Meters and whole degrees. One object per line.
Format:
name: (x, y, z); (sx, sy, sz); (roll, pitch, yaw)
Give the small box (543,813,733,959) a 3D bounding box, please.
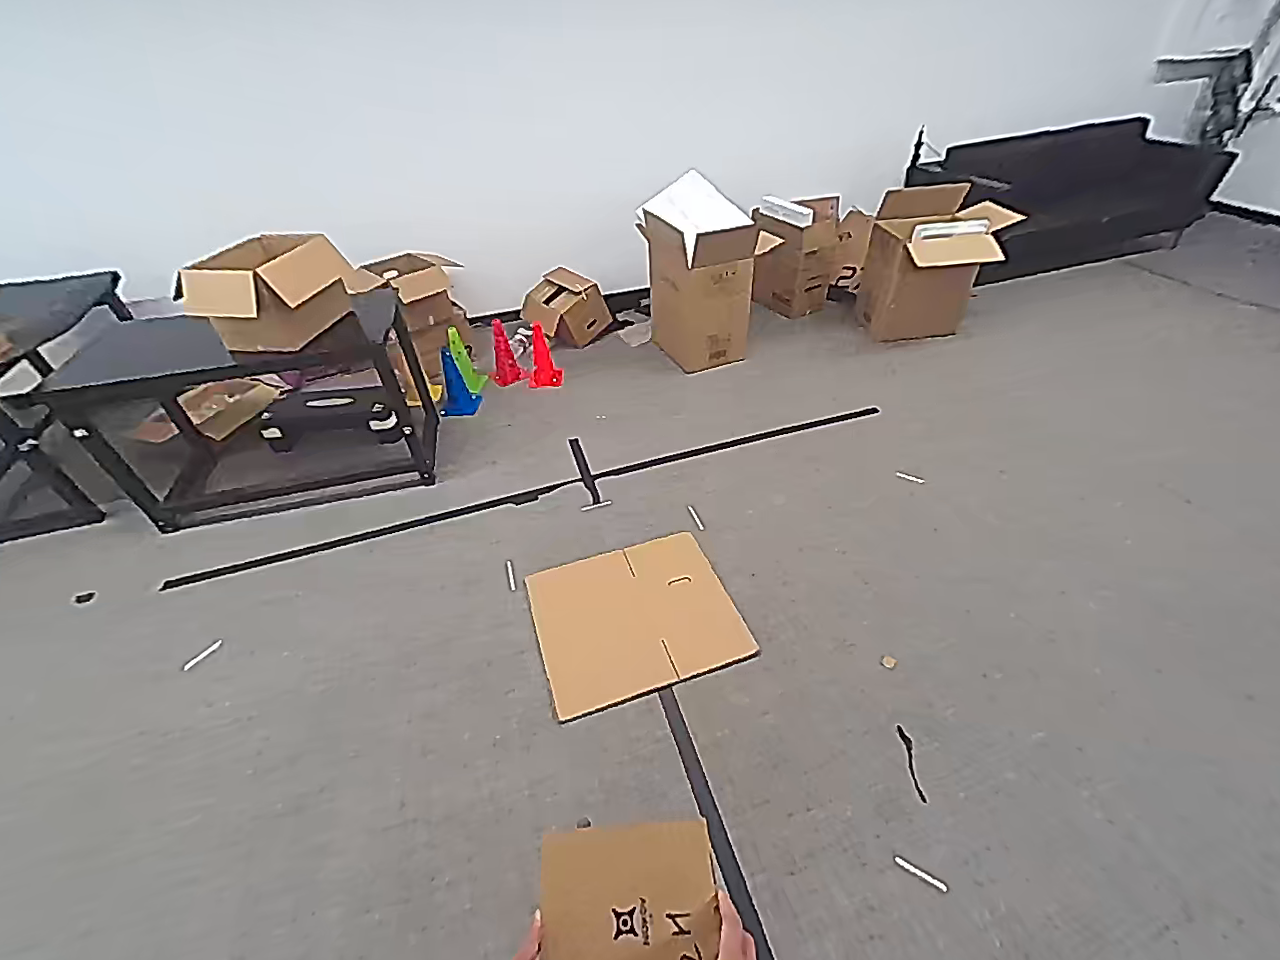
small box: (-0.013, 0.471, 0.570); (0.179, 0.176, 0.168); (2, 46, -10)
